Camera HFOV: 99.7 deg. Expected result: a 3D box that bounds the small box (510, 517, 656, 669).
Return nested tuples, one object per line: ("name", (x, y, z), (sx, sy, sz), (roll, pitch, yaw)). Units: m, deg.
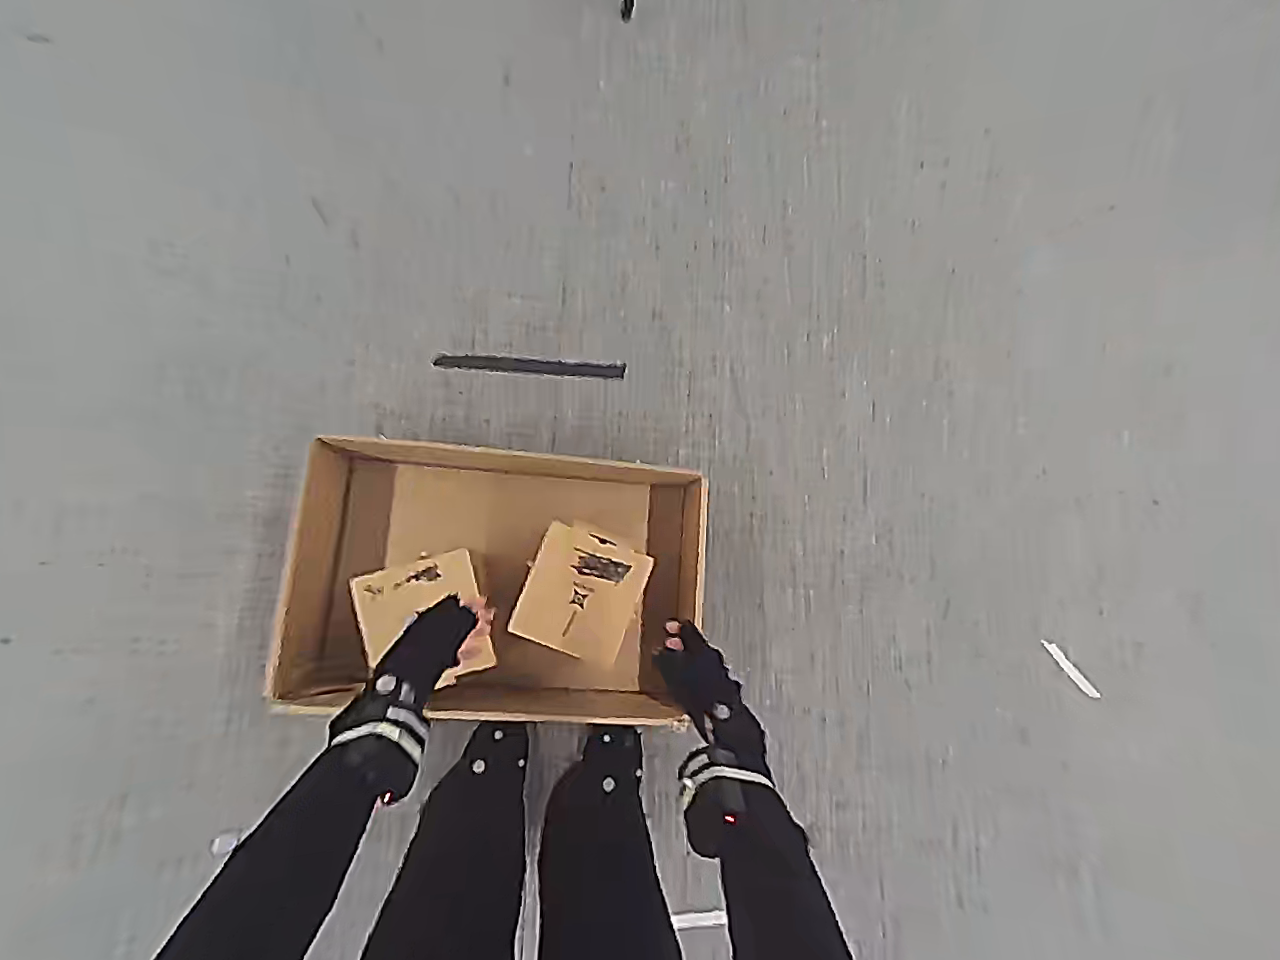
("small box", (-0.091, 0.174, 0.865), (0.168, 0.176, 0.179), (22, 80, -3))
